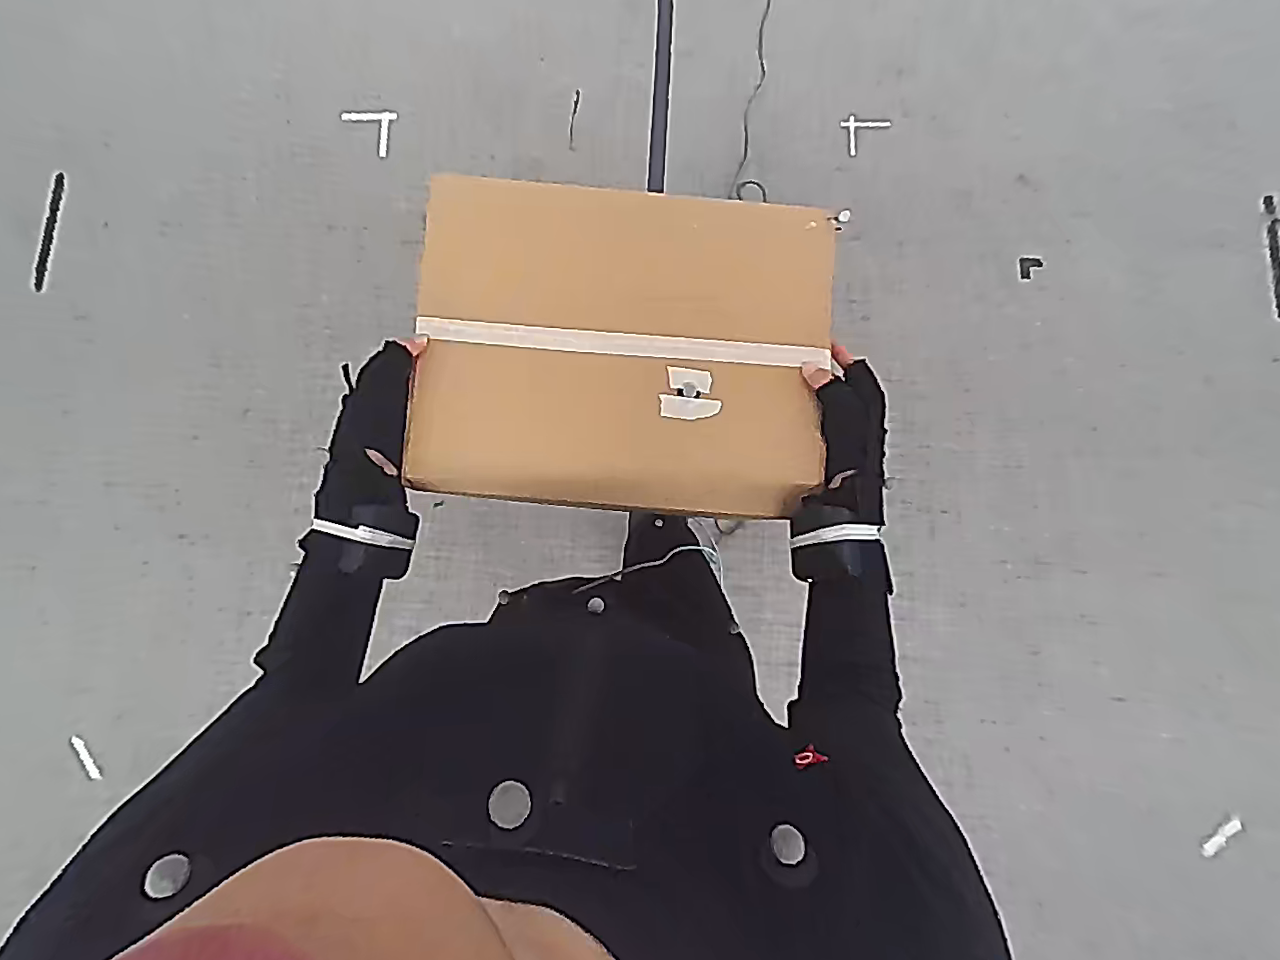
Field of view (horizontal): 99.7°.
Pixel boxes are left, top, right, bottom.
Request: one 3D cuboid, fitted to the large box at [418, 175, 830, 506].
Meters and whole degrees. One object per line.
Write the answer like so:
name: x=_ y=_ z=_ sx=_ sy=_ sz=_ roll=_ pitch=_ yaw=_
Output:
large box: x=-0.018 y=-0.136 z=0.693 sx=0.408 sy=0.320 sz=0.320 roll=5 pitch=87 yaw=-1
